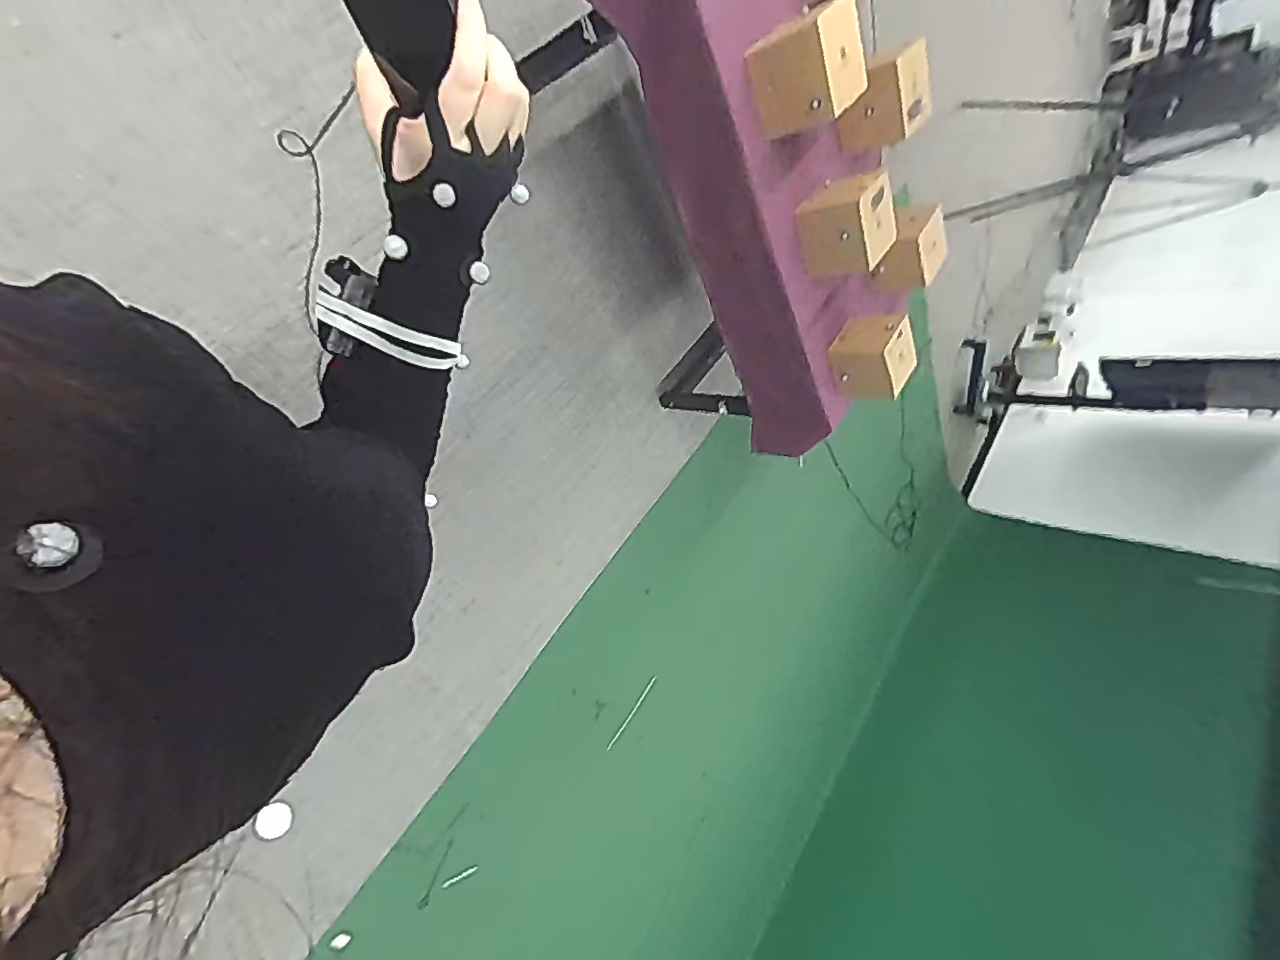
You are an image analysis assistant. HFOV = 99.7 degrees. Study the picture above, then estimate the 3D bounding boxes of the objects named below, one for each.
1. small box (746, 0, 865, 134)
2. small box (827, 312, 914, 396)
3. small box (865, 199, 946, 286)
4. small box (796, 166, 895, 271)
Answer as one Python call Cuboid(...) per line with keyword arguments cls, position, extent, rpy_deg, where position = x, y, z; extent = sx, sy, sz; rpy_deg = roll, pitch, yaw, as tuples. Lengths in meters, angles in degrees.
Cuboid(cls="small box", position=(0.348, -0.874, 1.141), extent=(0.168, 0.176, 0.179), rpy_deg=(-50, 131, -24))
Cuboid(cls="small box", position=(0.673, -0.369, 1.578), extent=(0.168, 0.176, 0.179), rpy_deg=(-52, 131, -23))
Cuboid(cls="small box", position=(0.779, -0.697, 1.602), extent=(0.179, 0.176, 0.168), rpy_deg=(-53, 130, -21))
Cuboid(cls="small box", position=(0.513, -0.647, 1.356), extent=(0.168, 0.176, 0.179), rpy_deg=(-49, 130, -25))
